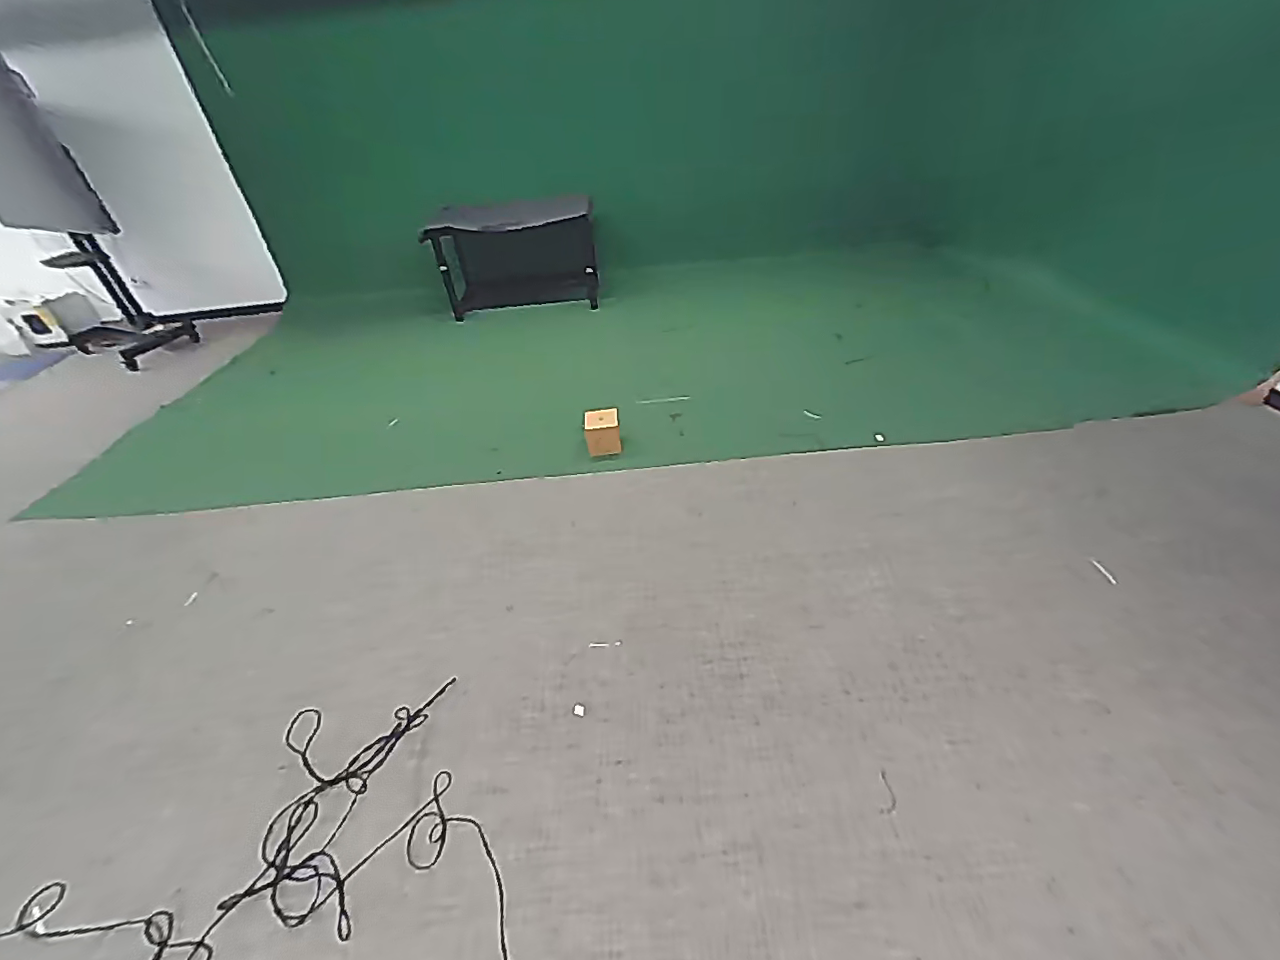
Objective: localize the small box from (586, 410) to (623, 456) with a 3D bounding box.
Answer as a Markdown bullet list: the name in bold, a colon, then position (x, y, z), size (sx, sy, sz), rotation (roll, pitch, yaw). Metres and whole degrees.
- **small box**: position (-0.180, -0.232, 2.749), size (0.168, 0.176, 0.179), rotation (-7, 37, 0)
